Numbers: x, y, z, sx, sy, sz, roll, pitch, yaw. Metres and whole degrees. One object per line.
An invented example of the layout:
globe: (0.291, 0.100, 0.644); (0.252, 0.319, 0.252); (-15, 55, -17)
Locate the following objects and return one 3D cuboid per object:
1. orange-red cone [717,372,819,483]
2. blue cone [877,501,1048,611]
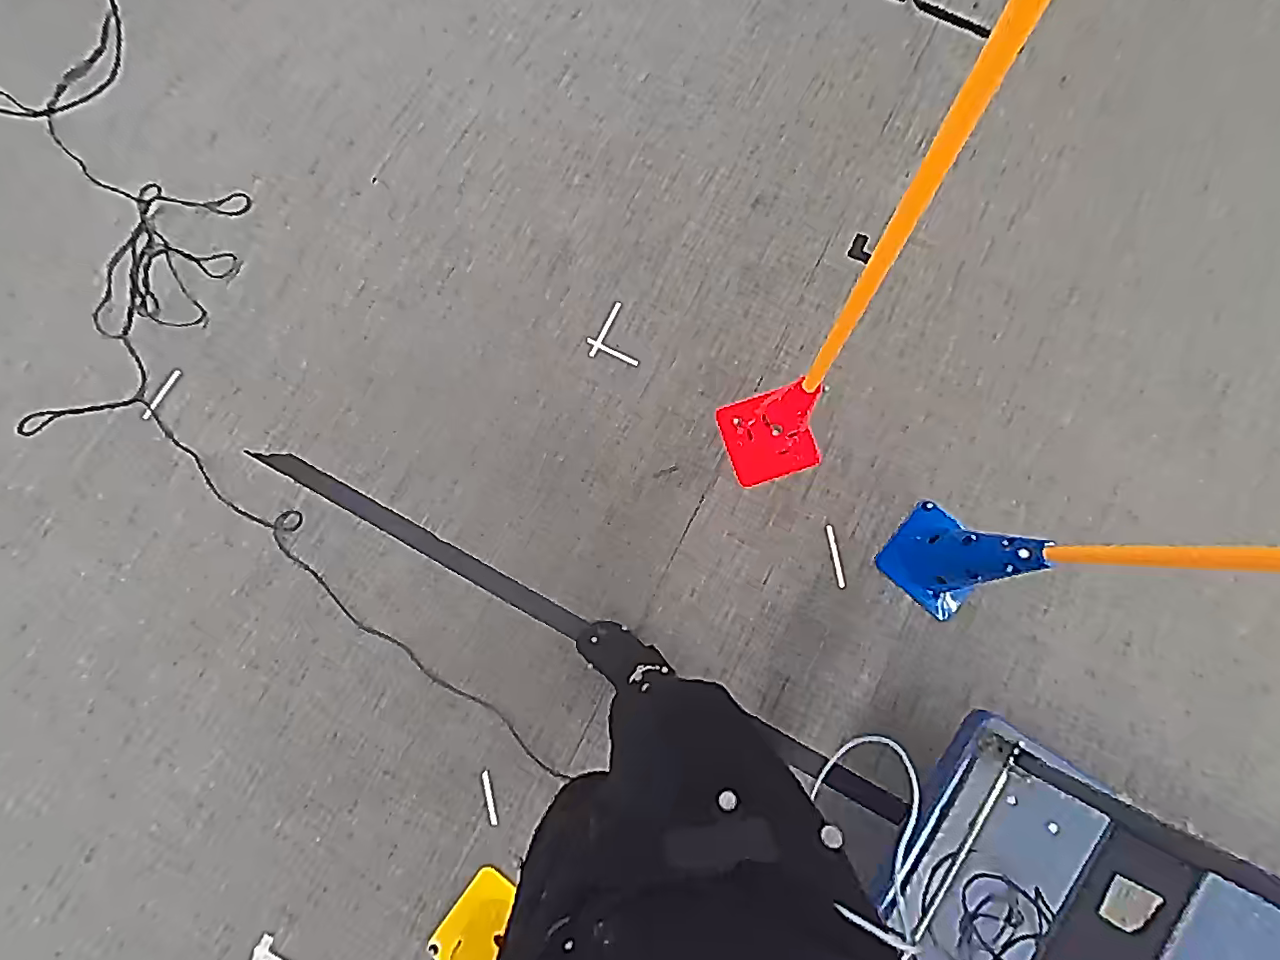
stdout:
orange-red cone: (0.286, -0.133, 1.067); (0.198, 0.360, 0.199); (-17, 81, -1)
blue cone: (0.636, 0.136, 1.025); (0.192, 0.380, 0.193); (42, 84, 9)
